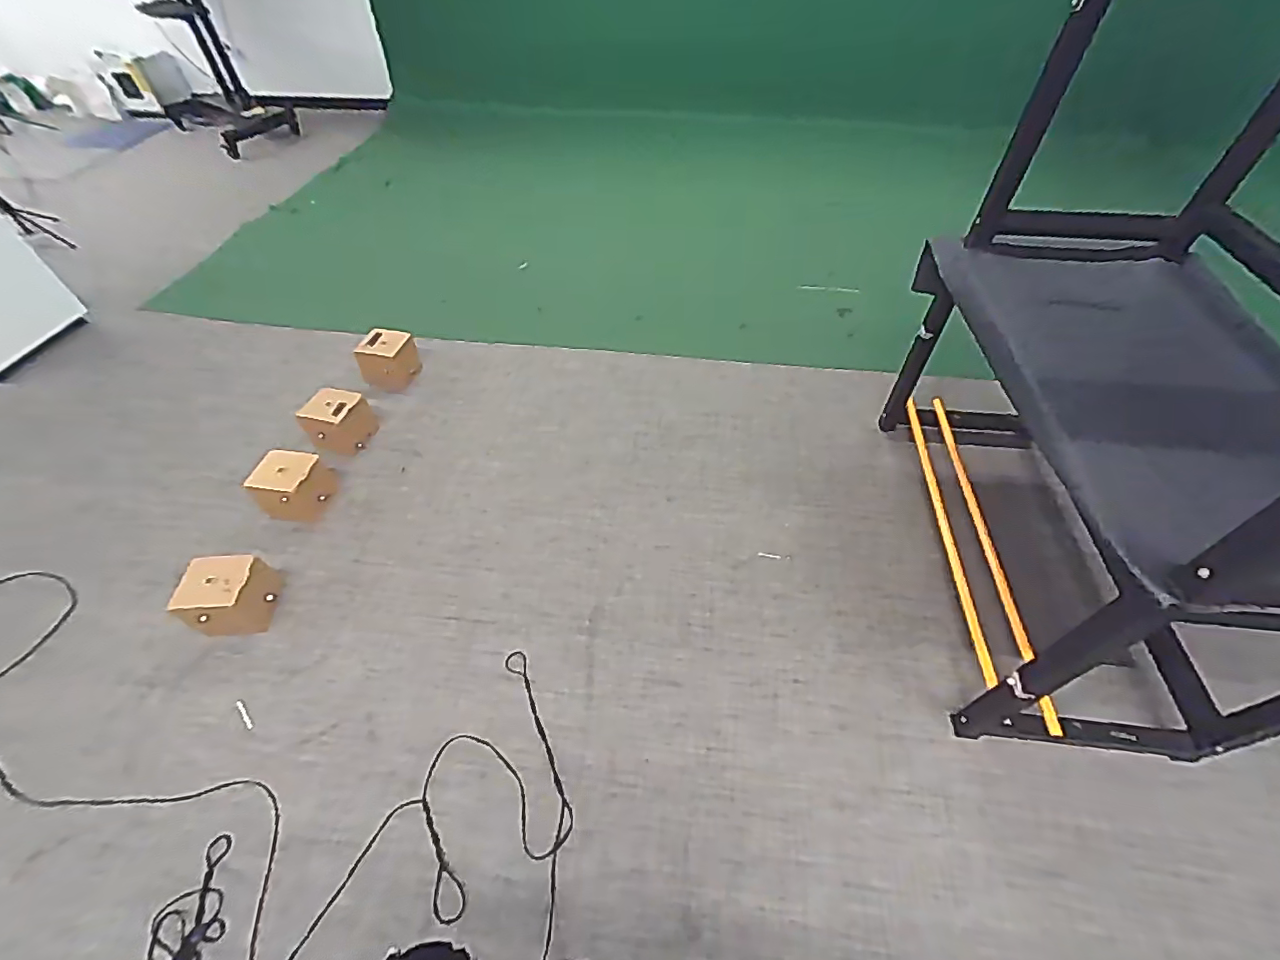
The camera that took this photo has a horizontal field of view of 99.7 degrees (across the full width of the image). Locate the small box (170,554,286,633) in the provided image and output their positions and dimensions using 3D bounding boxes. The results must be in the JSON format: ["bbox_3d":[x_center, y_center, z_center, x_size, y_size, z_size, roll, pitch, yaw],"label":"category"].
[{"bbox_3d":[-1.173,0.330,1.556,0.179,0.176,0.168,-3,51,-2],"label":"small box"}]

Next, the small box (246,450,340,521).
[{"bbox_3d":[-1.158,0.020,1.818,0.179,0.176,0.168,6,50,5],"label":"small box"}]

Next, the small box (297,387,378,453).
[{"bbox_3d":[-1.120,-0.219,2.019,0.179,0.176,0.168,10,50,10],"label":"small box"}]
